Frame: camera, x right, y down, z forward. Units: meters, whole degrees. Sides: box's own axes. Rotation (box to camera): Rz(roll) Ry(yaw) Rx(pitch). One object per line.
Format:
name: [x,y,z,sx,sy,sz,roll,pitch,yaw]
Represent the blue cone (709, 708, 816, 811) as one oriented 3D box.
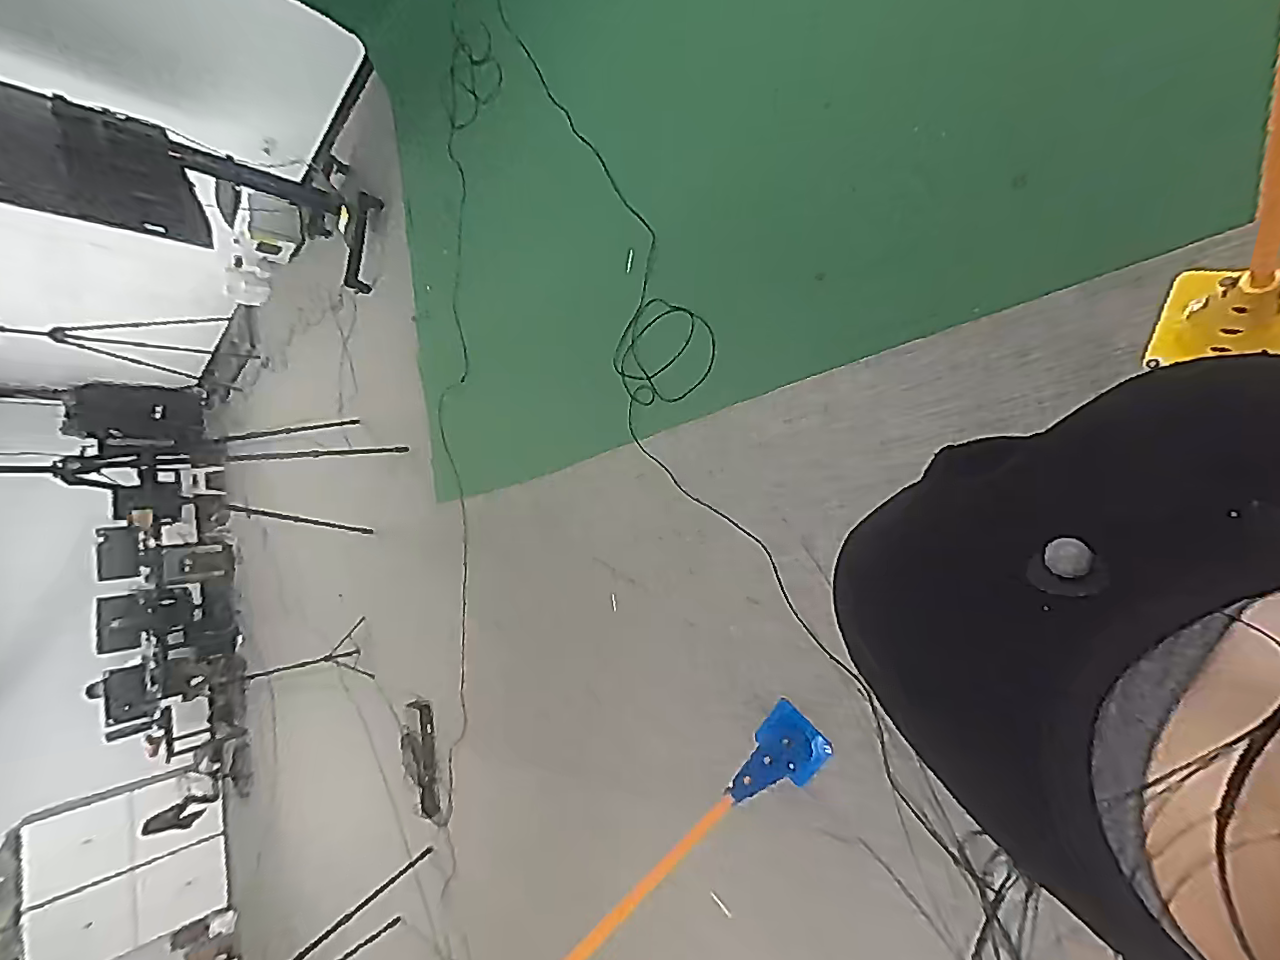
blue cone: [0.323,0.834,1.532,0.192,0.380,0.193,40,118,33]
